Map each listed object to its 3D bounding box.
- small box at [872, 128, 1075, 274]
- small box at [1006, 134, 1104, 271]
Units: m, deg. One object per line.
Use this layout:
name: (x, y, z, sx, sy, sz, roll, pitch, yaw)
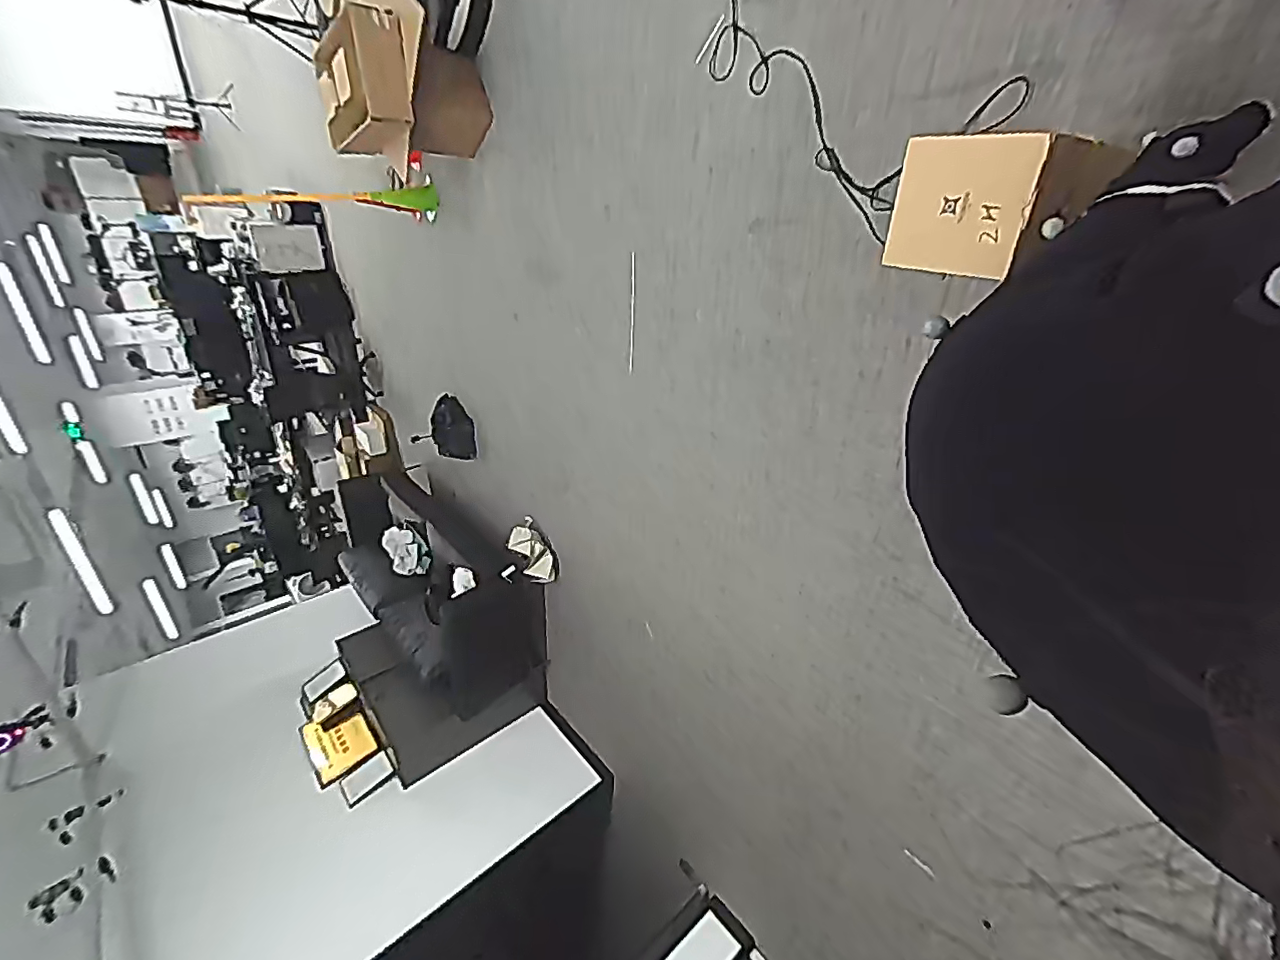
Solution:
small box: (0.473, -0.400, 0.776, 0.179, 0.176, 0.168, 30, 130, 39)
small box: (0.603, -0.444, 0.867, 0.168, 0.176, 0.179, 30, 130, 40)
